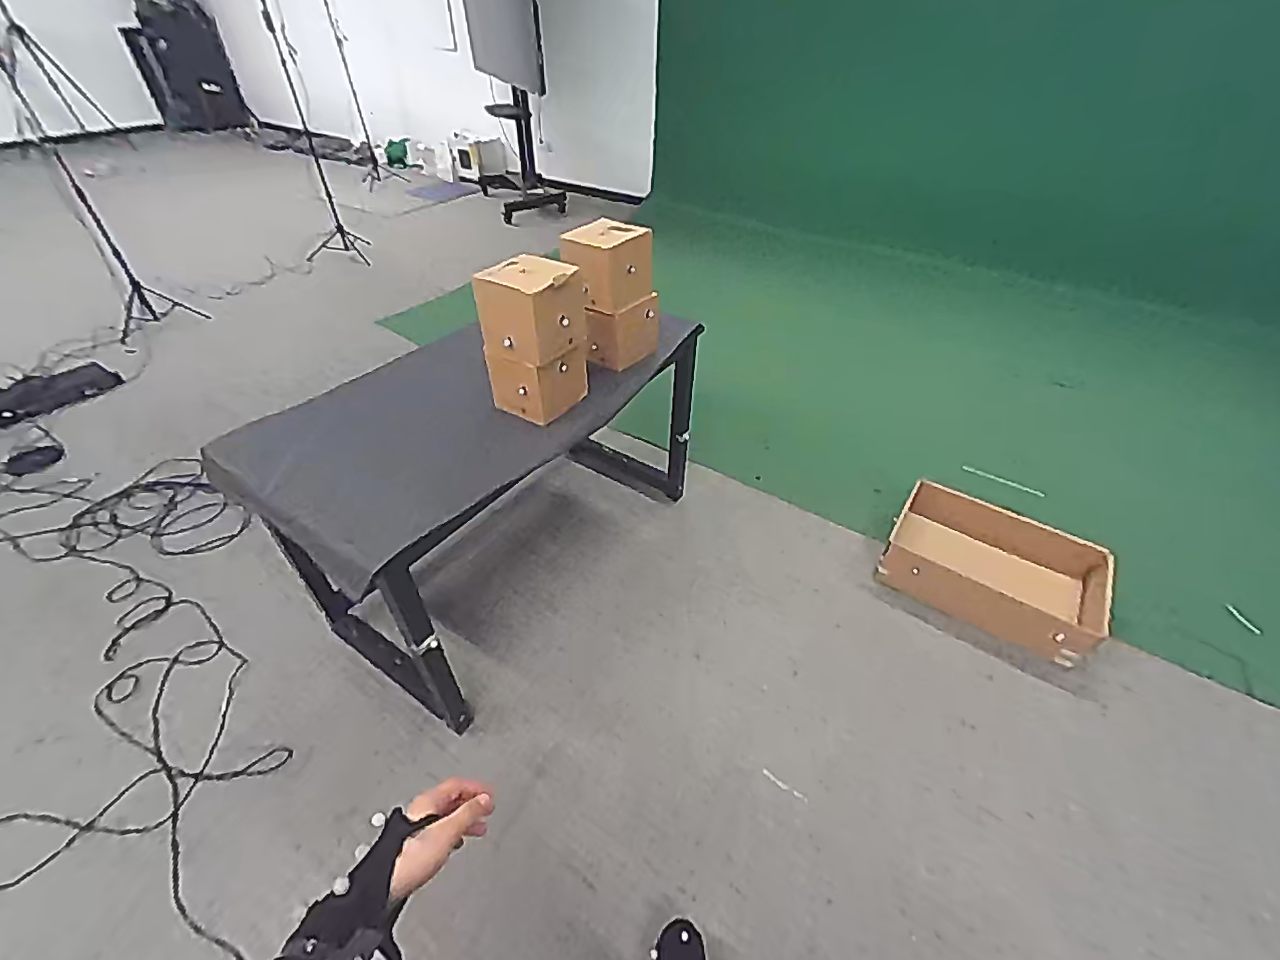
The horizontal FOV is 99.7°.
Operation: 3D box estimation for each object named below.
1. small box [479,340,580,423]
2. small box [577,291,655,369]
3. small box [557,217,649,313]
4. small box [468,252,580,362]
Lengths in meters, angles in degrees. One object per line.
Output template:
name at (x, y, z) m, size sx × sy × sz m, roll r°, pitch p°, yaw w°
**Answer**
small box at (-0.258, -0.264, 1.316) m, size 0.168 × 0.176 × 0.179 m, roll 24°, pitch 46°, yaw 23°
small box at (-0.075, -0.435, 1.508) m, size 0.168 × 0.176 × 0.179 m, roll 27°, pitch 49°, yaw 28°
small box at (-0.093, -0.555, 1.397) m, size 0.168 × 0.176 × 0.179 m, roll 27°, pitch 49°, yaw 27°
small box at (-0.248, -0.382, 1.201) m, size 0.179 × 0.176 × 0.168 m, roll 25°, pitch 47°, yaw 24°
